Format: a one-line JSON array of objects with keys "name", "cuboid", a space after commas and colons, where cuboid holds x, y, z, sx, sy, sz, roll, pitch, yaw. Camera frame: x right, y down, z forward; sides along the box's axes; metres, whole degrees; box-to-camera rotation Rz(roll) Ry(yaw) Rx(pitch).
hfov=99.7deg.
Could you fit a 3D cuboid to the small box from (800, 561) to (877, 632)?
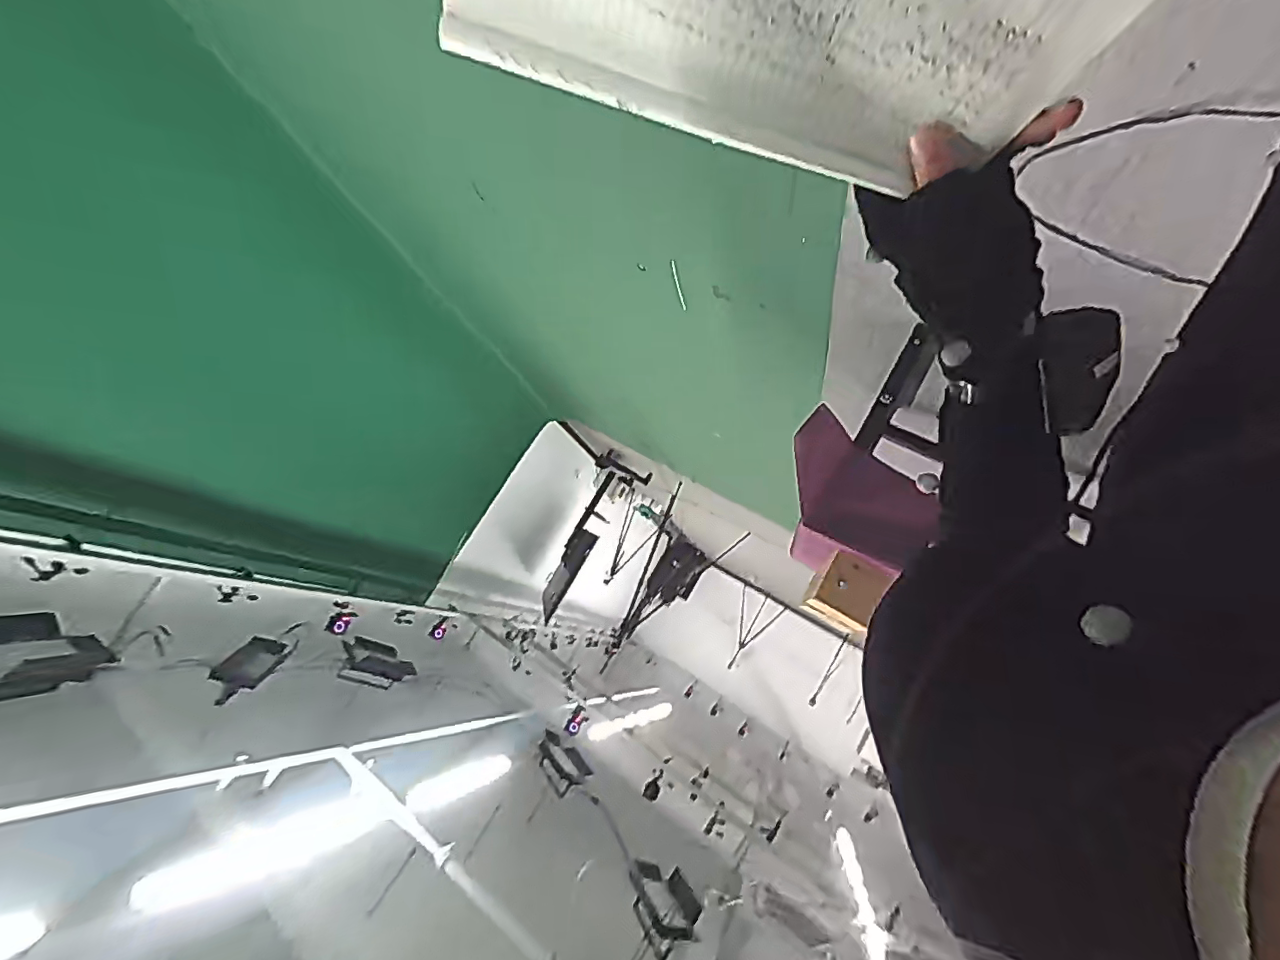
[{"name": "small box", "cuboid": [0.645, 0.377, 1.761, 0.168, 0.176, 0.179, 30, 171, 14]}]
